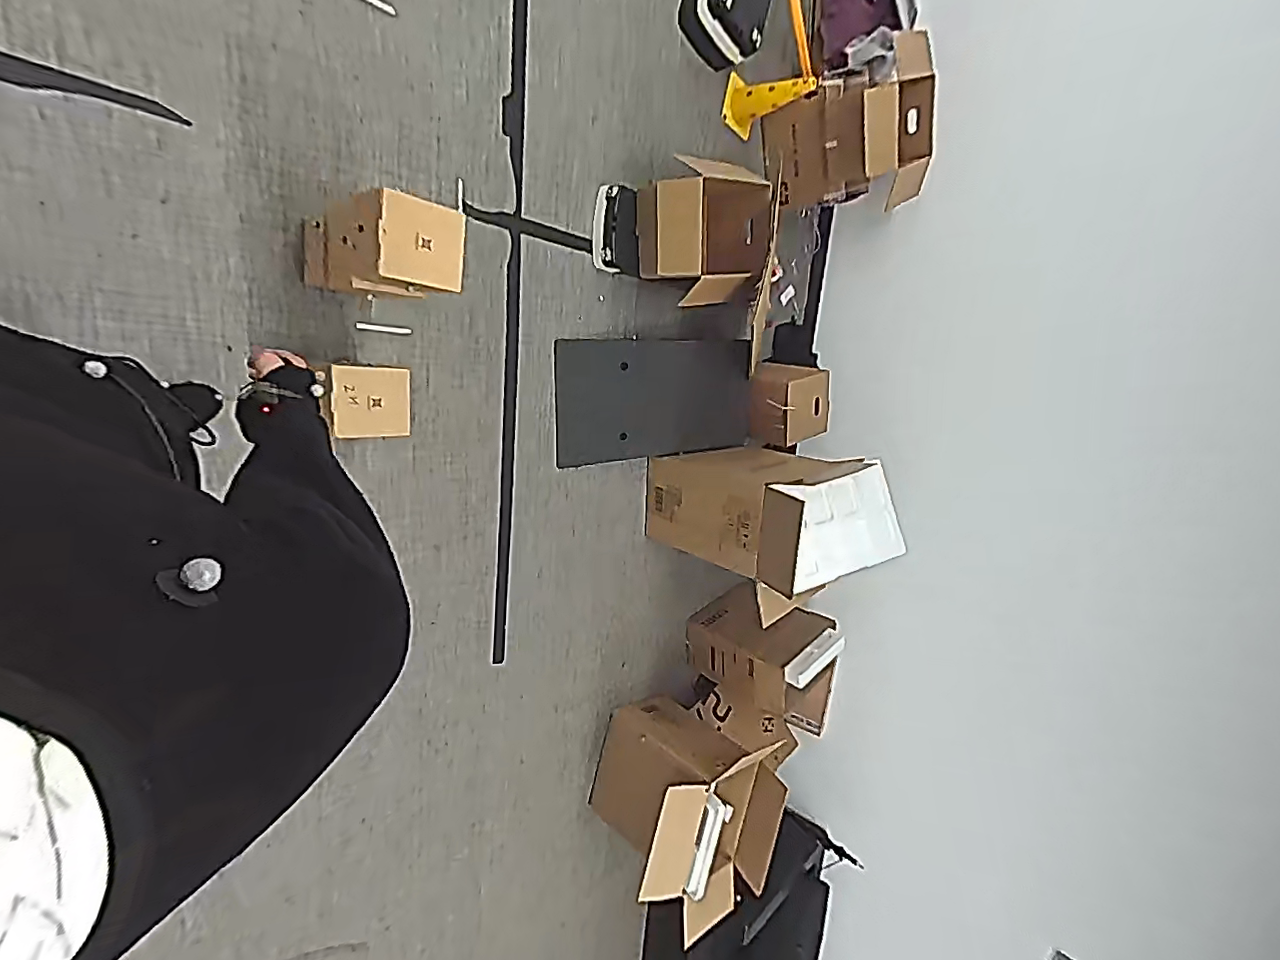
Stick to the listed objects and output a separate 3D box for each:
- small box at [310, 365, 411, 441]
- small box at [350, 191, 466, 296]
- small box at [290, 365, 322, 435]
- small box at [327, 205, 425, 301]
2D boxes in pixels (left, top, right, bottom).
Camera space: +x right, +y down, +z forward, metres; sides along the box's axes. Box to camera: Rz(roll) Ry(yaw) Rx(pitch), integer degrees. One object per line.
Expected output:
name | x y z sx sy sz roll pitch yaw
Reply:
small box | -0.680 -0.190 1.315 0.179 0.176 0.168 -7 107 -44
small box | -0.499 -0.497 1.160 0.179 0.176 0.168 -4 106 -45
small box | -0.798 -0.214 1.427 0.179 0.176 0.168 -9 107 -43
small box | -0.619 -0.522 1.268 0.168 0.176 0.179 -7 108 -45
